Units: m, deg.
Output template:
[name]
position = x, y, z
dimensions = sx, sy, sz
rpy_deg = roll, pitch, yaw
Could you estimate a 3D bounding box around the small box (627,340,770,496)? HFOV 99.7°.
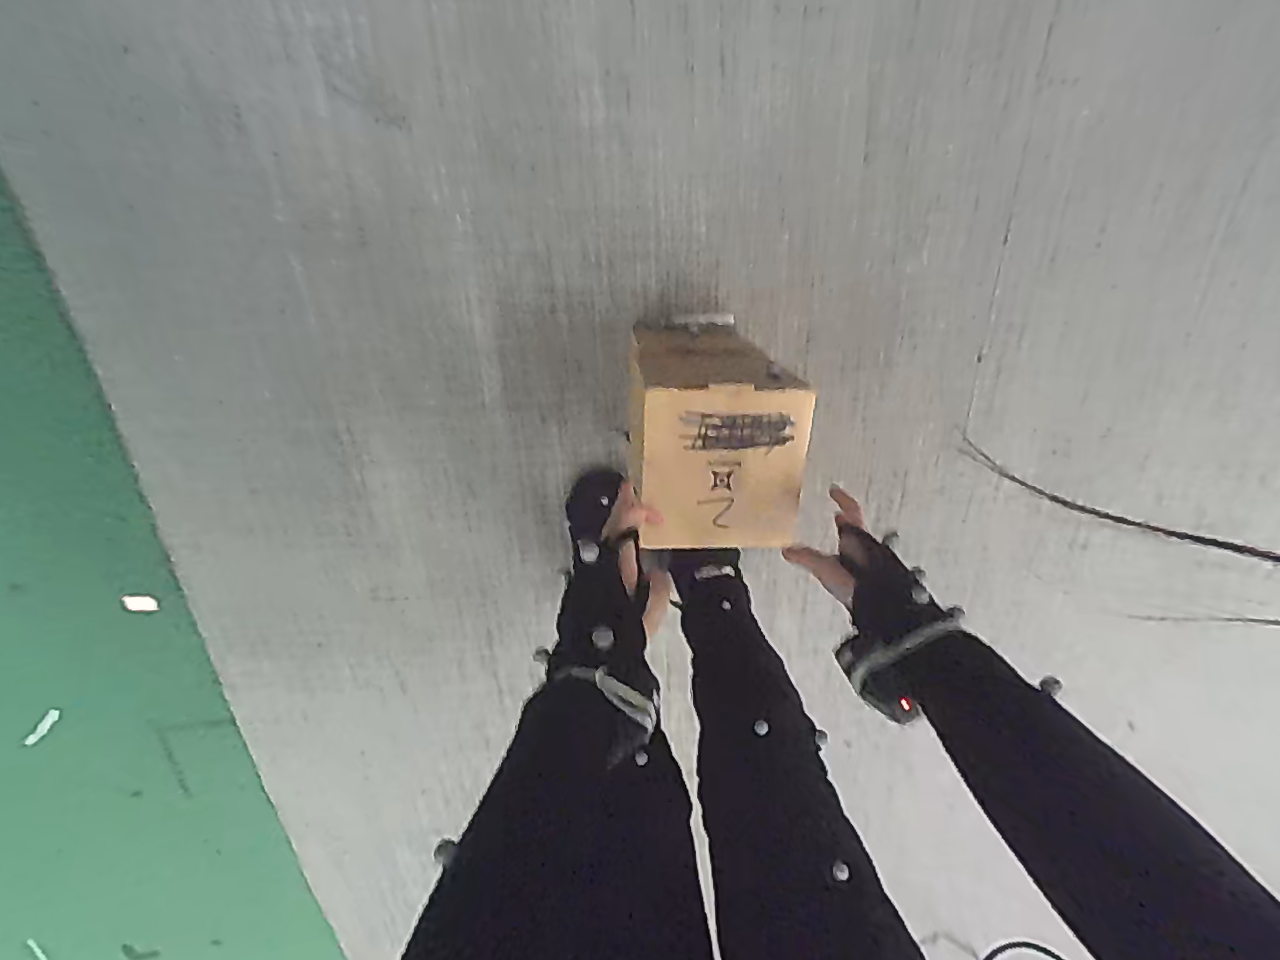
[small box]
position = 0.070, -0.093, 0.769
dimensions = 0.168, 0.176, 0.179
rpy_deg = 3, 112, -5
